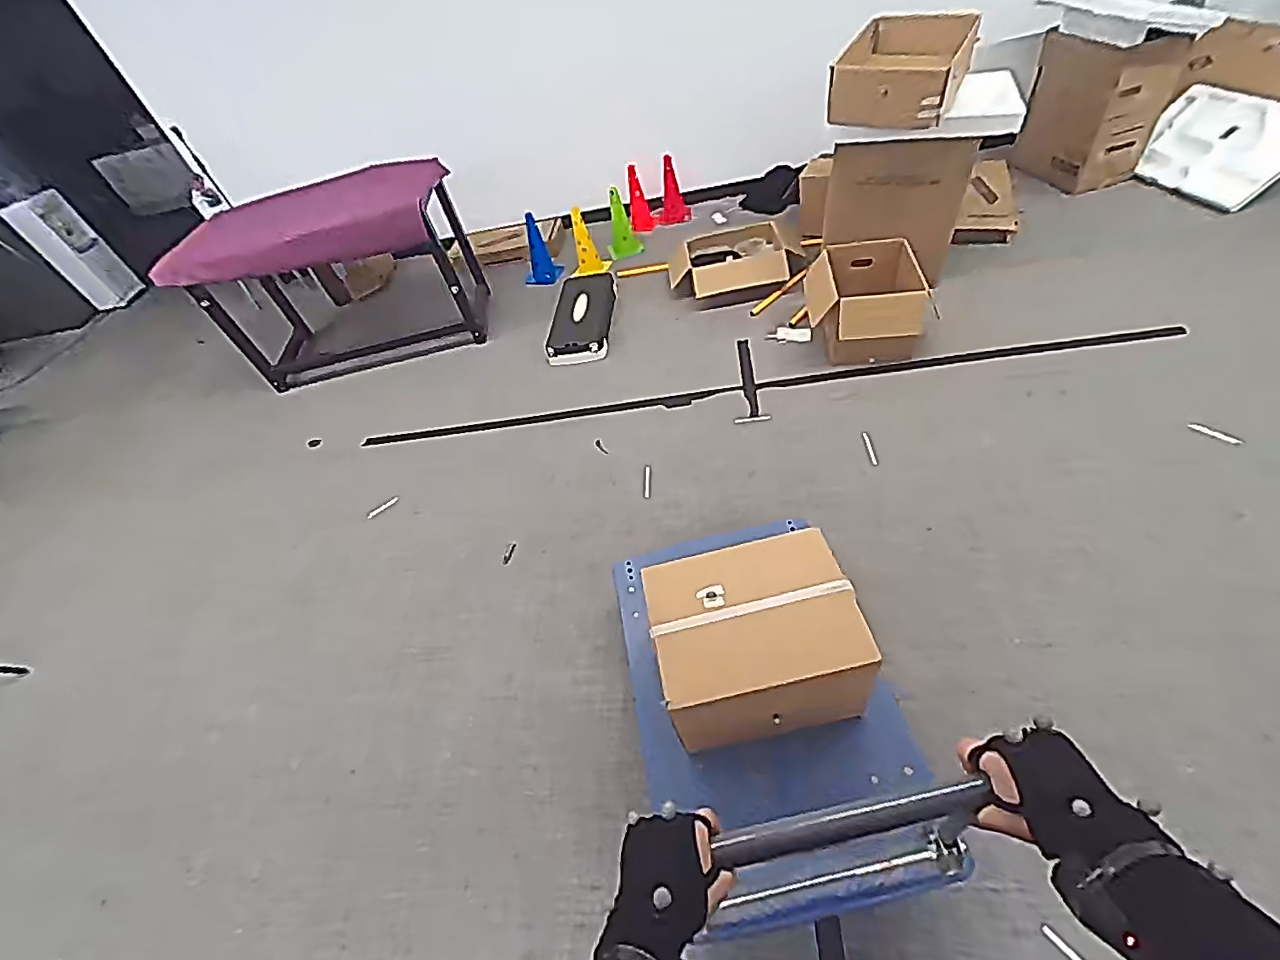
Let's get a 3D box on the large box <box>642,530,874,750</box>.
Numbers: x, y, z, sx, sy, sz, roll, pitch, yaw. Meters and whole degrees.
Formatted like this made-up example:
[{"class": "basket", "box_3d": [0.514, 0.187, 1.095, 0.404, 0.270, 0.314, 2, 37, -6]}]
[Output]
[{"class": "large box", "box_3d": [0.251, 0.366, 1.218, 0.408, 0.320, 0.320, -15, 47, 2]}]
